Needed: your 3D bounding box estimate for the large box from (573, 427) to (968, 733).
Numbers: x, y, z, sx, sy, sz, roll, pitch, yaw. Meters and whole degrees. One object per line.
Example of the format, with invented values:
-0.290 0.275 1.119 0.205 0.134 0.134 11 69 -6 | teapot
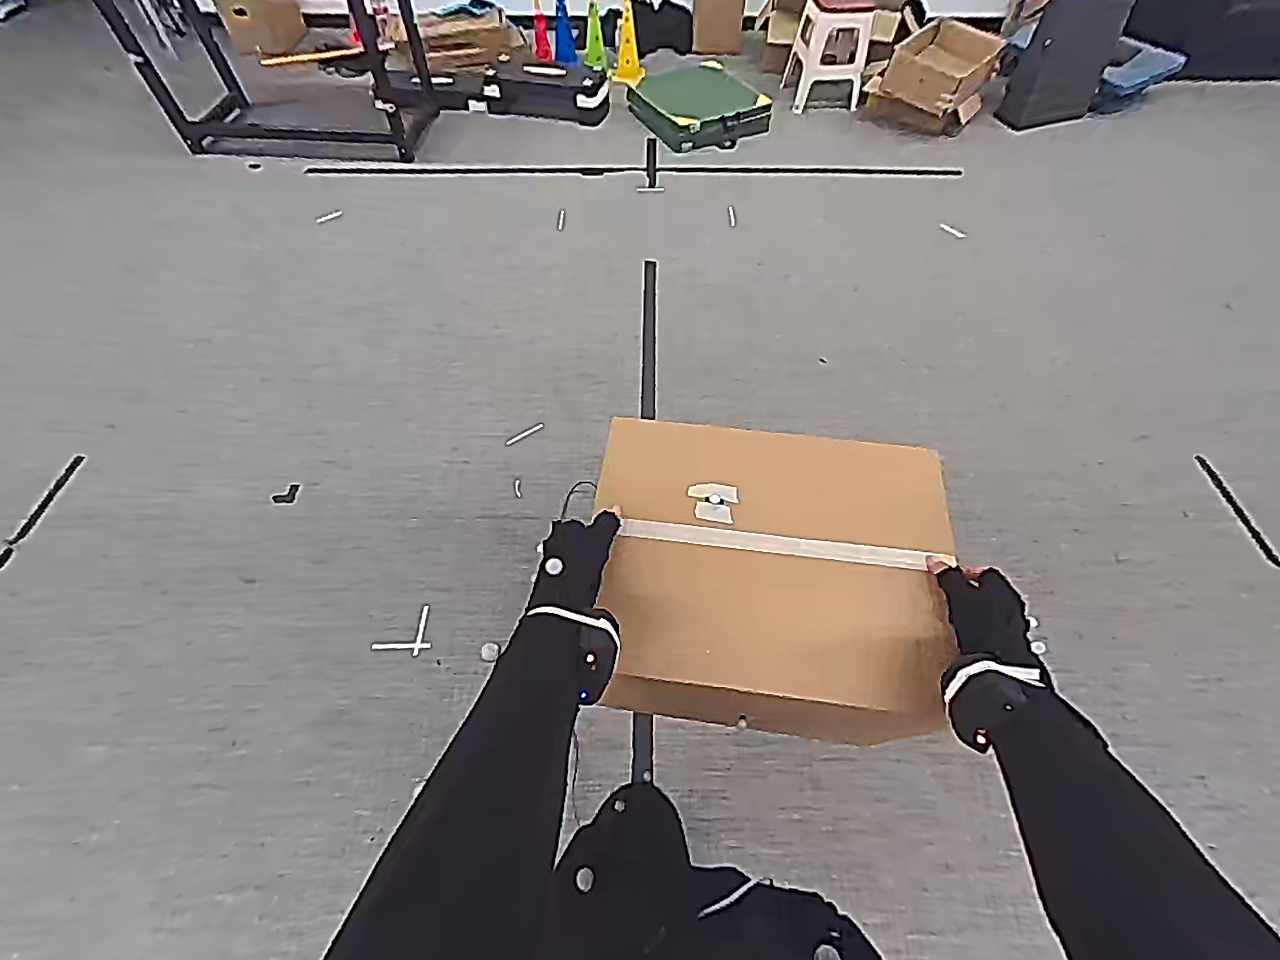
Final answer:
0.151 0.152 0.746 0.408 0.320 0.320 6 60 5 | large box
